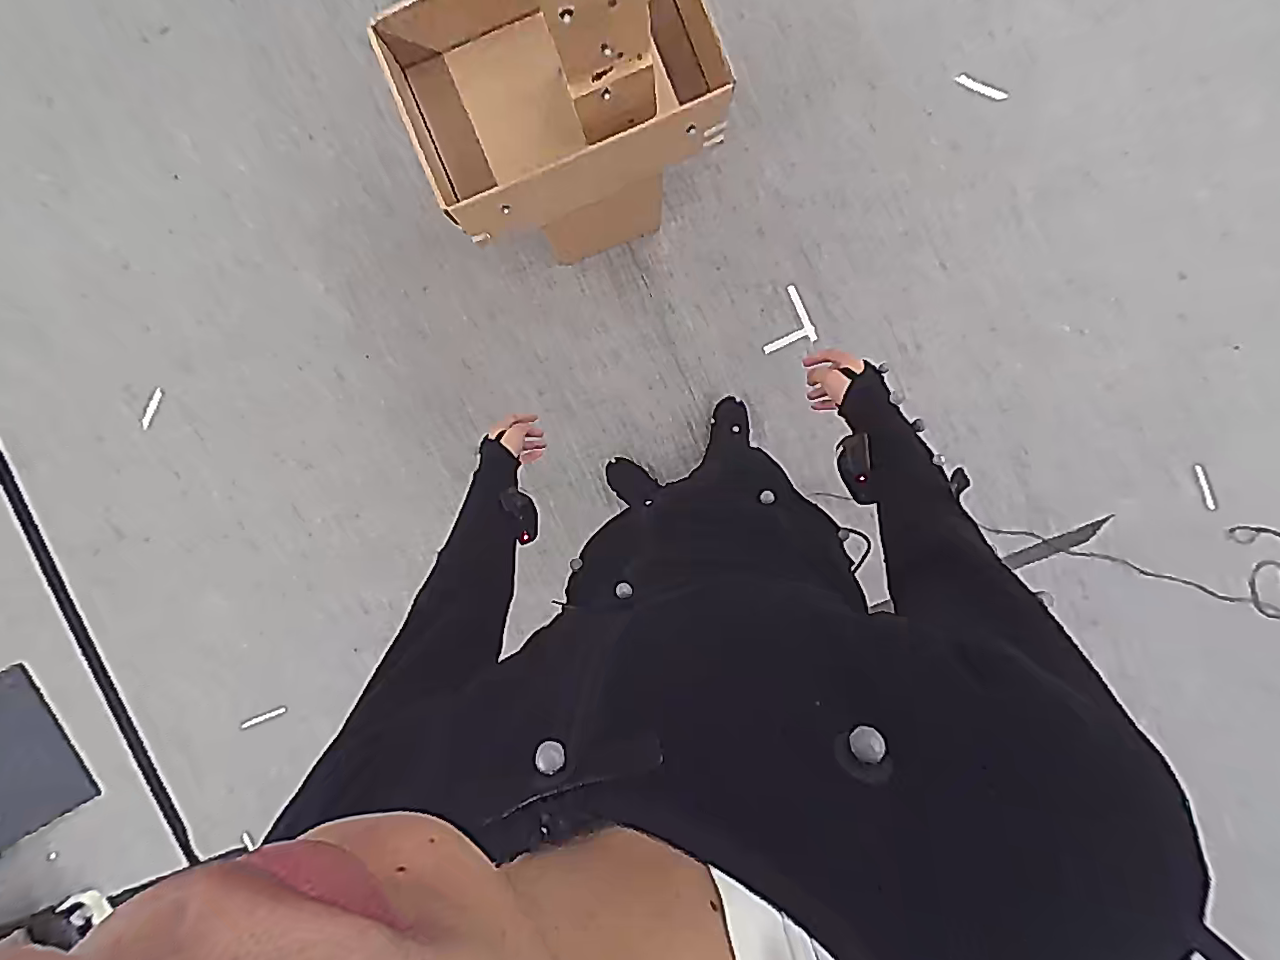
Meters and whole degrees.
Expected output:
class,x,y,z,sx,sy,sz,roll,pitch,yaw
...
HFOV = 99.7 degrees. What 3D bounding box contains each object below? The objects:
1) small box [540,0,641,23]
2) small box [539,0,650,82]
class,x,y,z,sx,sy,sz,roll,pitch,yaw
small box,-0.088,-0.784,0.743,0.168,0.176,0.179,-15,93,6
small box,-0.089,-0.829,0.905,0.168,0.176,0.179,-20,94,6
